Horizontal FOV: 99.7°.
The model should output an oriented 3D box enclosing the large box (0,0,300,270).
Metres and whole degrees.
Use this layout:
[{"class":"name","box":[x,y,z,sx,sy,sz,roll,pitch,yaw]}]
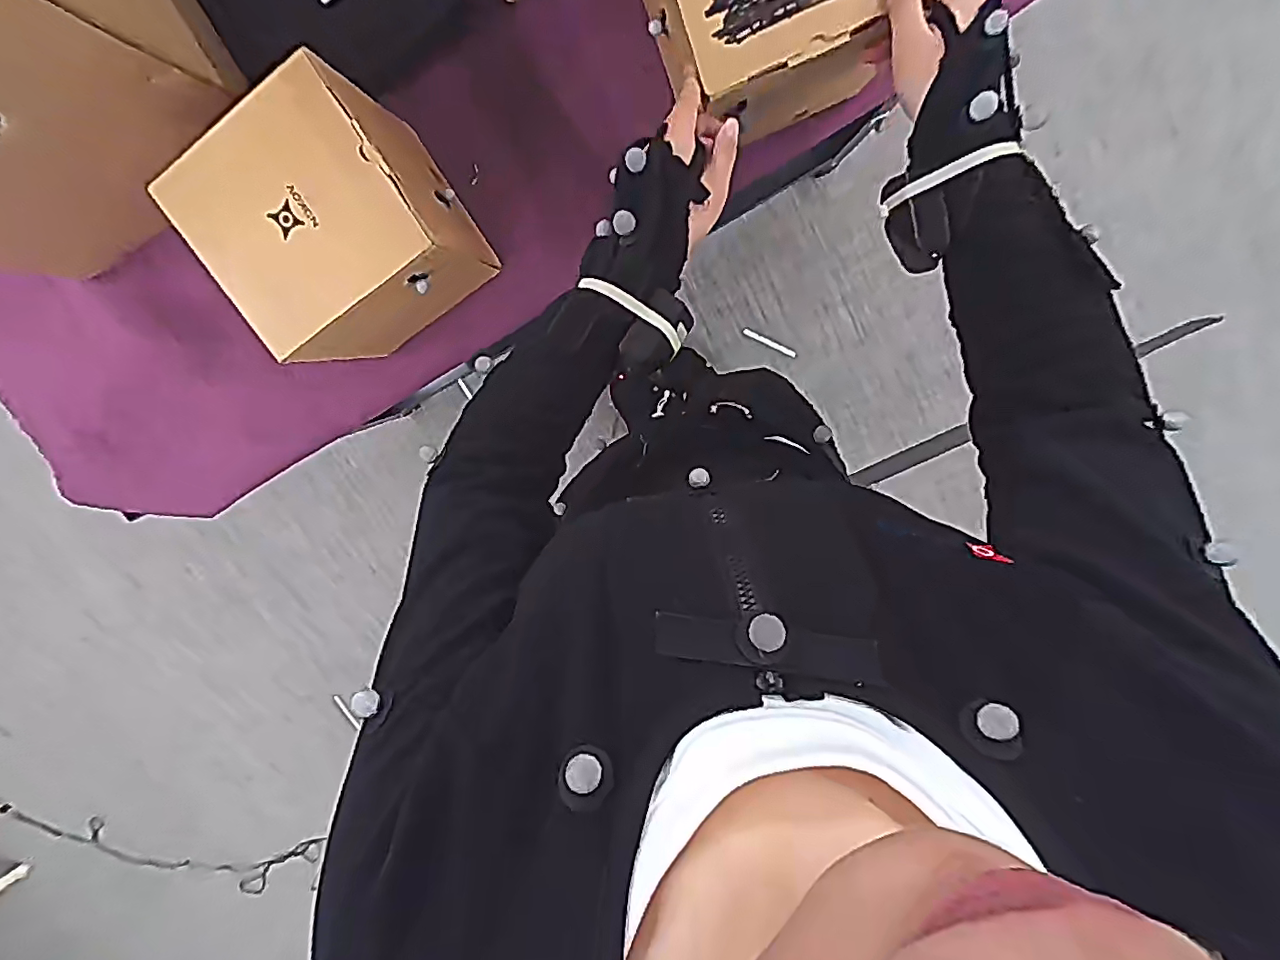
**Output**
[{"class":"large box","box":[-0.585,-0.427,0.407,0.320,0.320,0.408,-28,105,11]}]
